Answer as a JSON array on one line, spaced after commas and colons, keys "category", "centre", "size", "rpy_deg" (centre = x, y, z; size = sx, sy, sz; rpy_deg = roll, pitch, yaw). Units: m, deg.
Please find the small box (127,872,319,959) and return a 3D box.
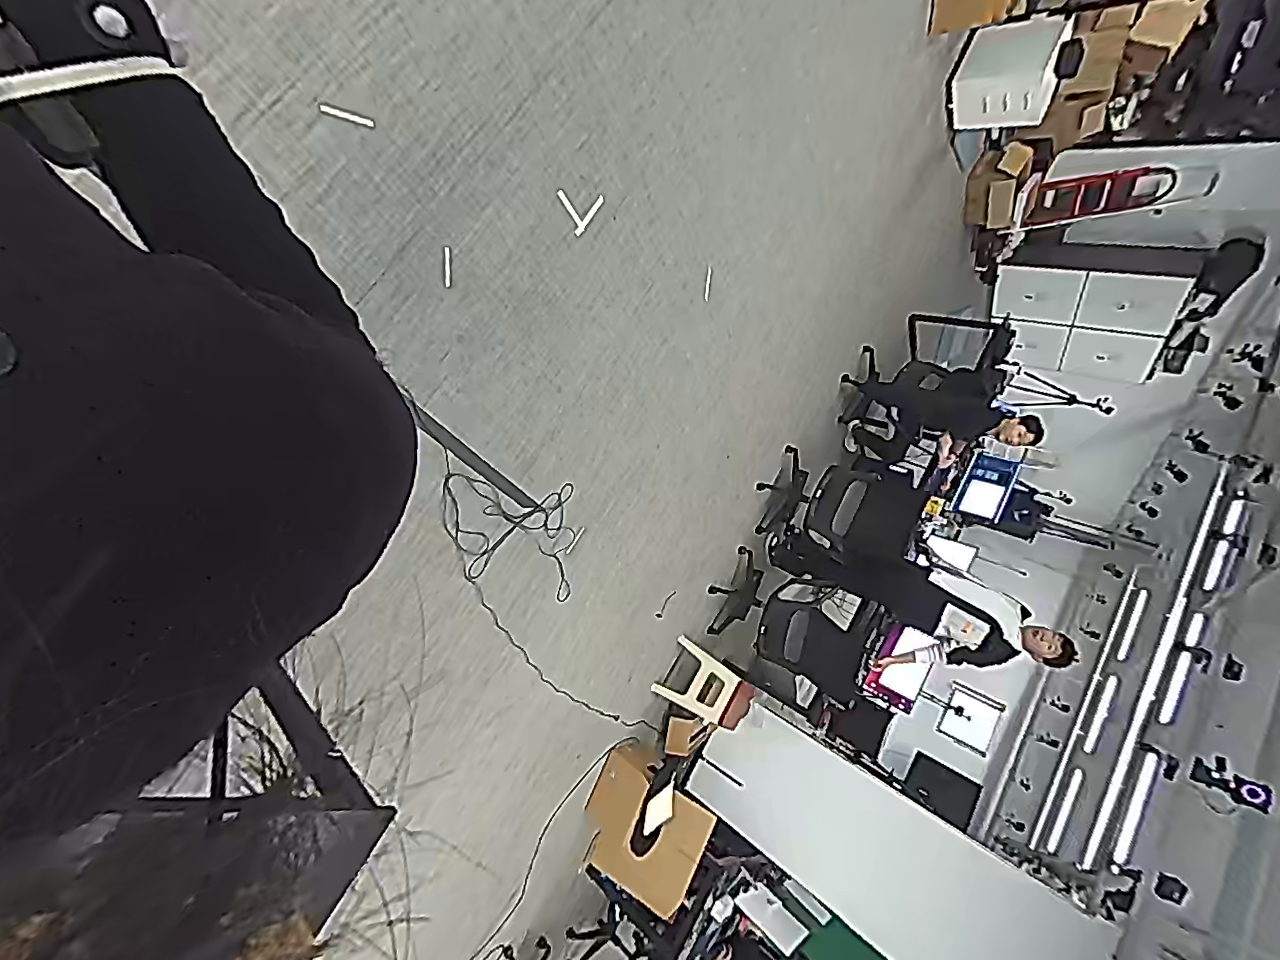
[{"category": "small box", "centre": [-0.633, 0.729, 0.802], "size": [0.168, 0.176, 0.179], "rpy_deg": [-59, 143, -9]}]
